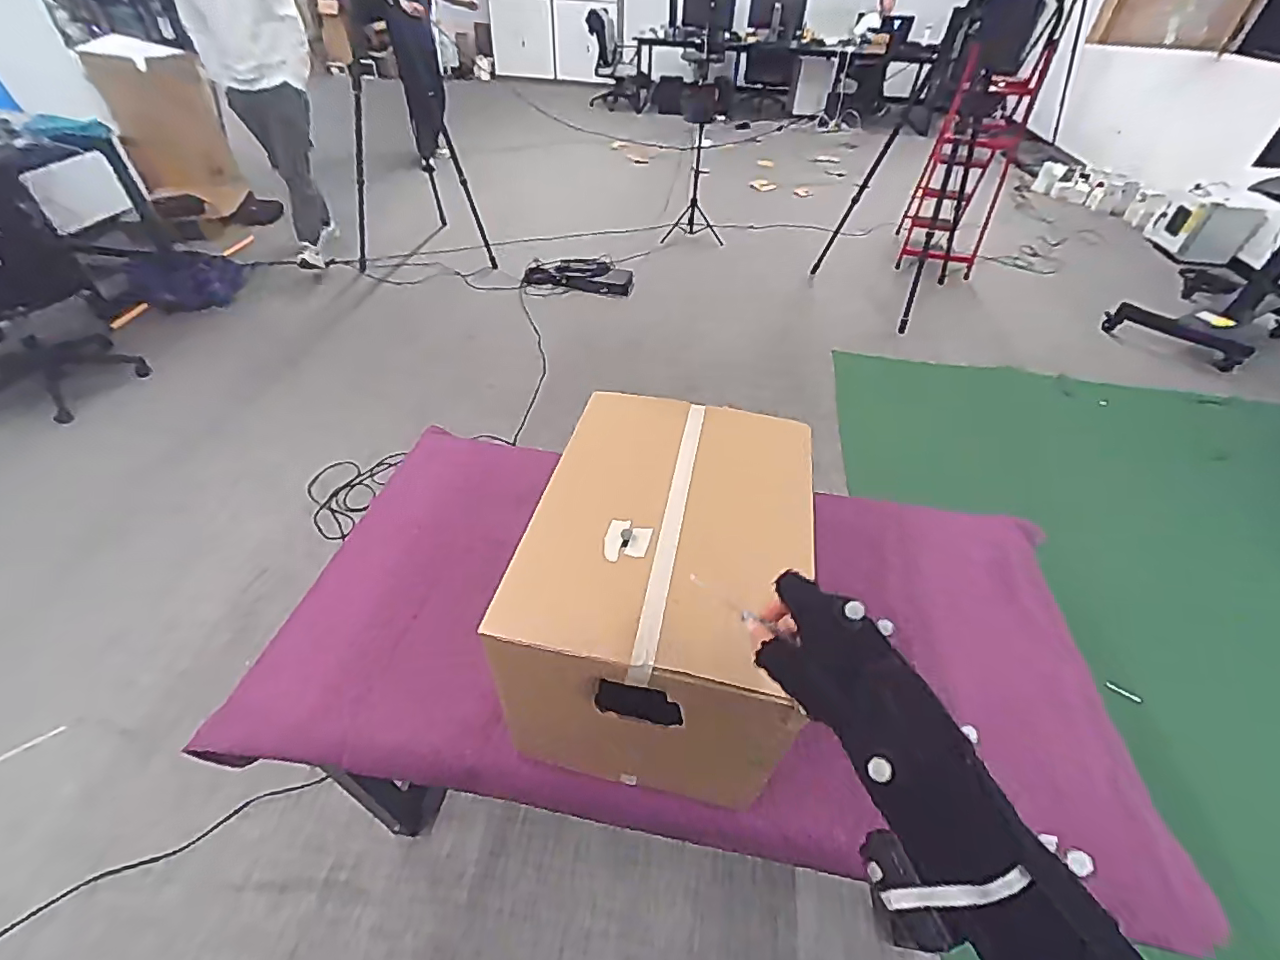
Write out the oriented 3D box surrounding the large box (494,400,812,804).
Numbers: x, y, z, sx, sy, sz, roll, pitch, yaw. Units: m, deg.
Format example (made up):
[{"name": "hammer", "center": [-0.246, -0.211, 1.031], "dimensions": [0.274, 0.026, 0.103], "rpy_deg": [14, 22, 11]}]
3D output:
[{"name": "large box", "center": [0.036, 0.150, 0.743], "dimensions": [0.320, 0.320, 0.408], "rpy_deg": [11, 45, 7]}]
